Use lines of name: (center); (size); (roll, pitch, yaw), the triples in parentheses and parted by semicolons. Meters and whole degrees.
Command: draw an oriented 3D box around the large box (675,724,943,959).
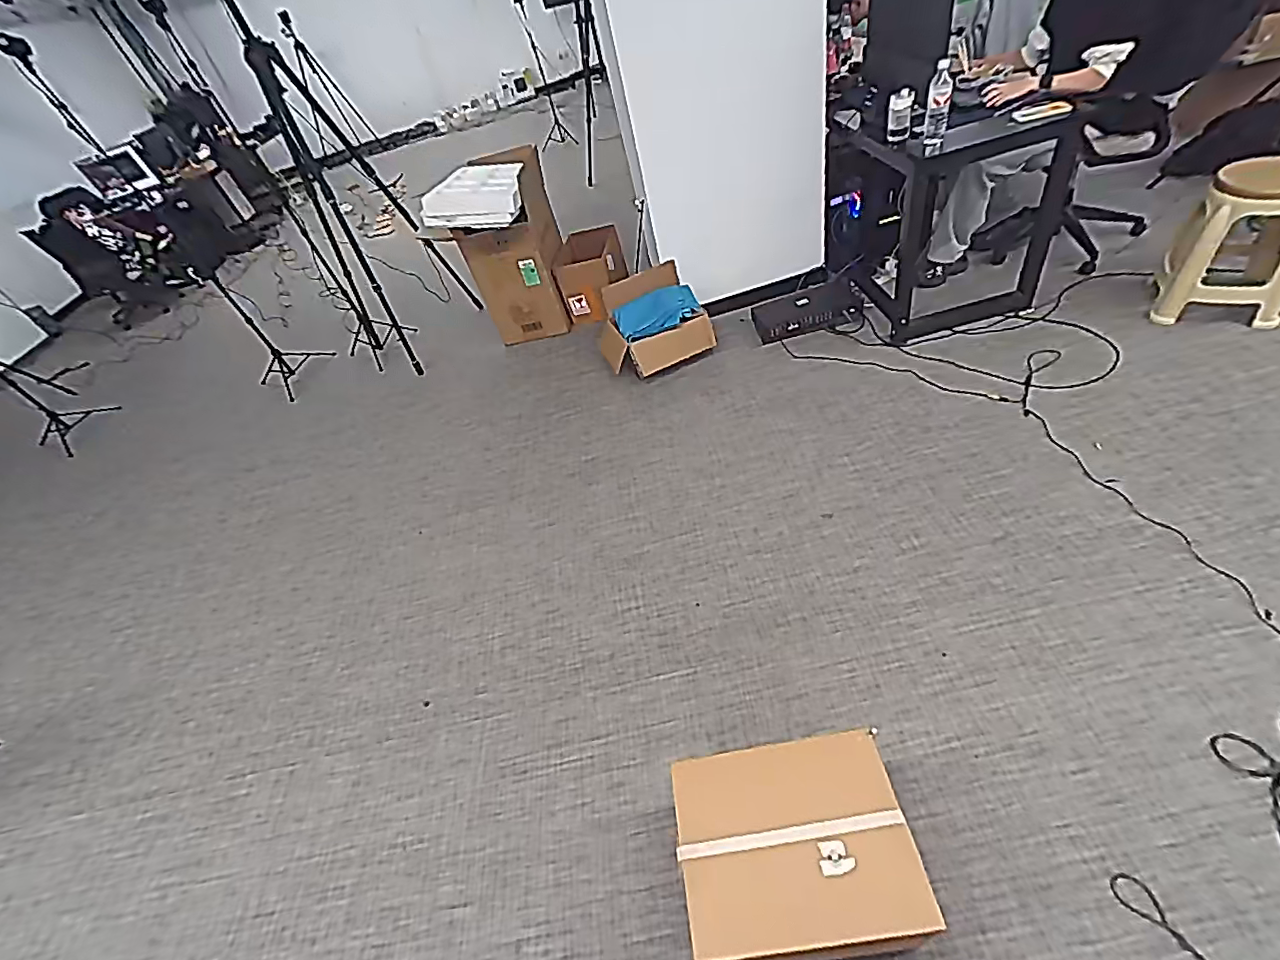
large box: (0.309, 0.738, 1.080); (0.408, 0.320, 0.320); (-13, 44, 5)
